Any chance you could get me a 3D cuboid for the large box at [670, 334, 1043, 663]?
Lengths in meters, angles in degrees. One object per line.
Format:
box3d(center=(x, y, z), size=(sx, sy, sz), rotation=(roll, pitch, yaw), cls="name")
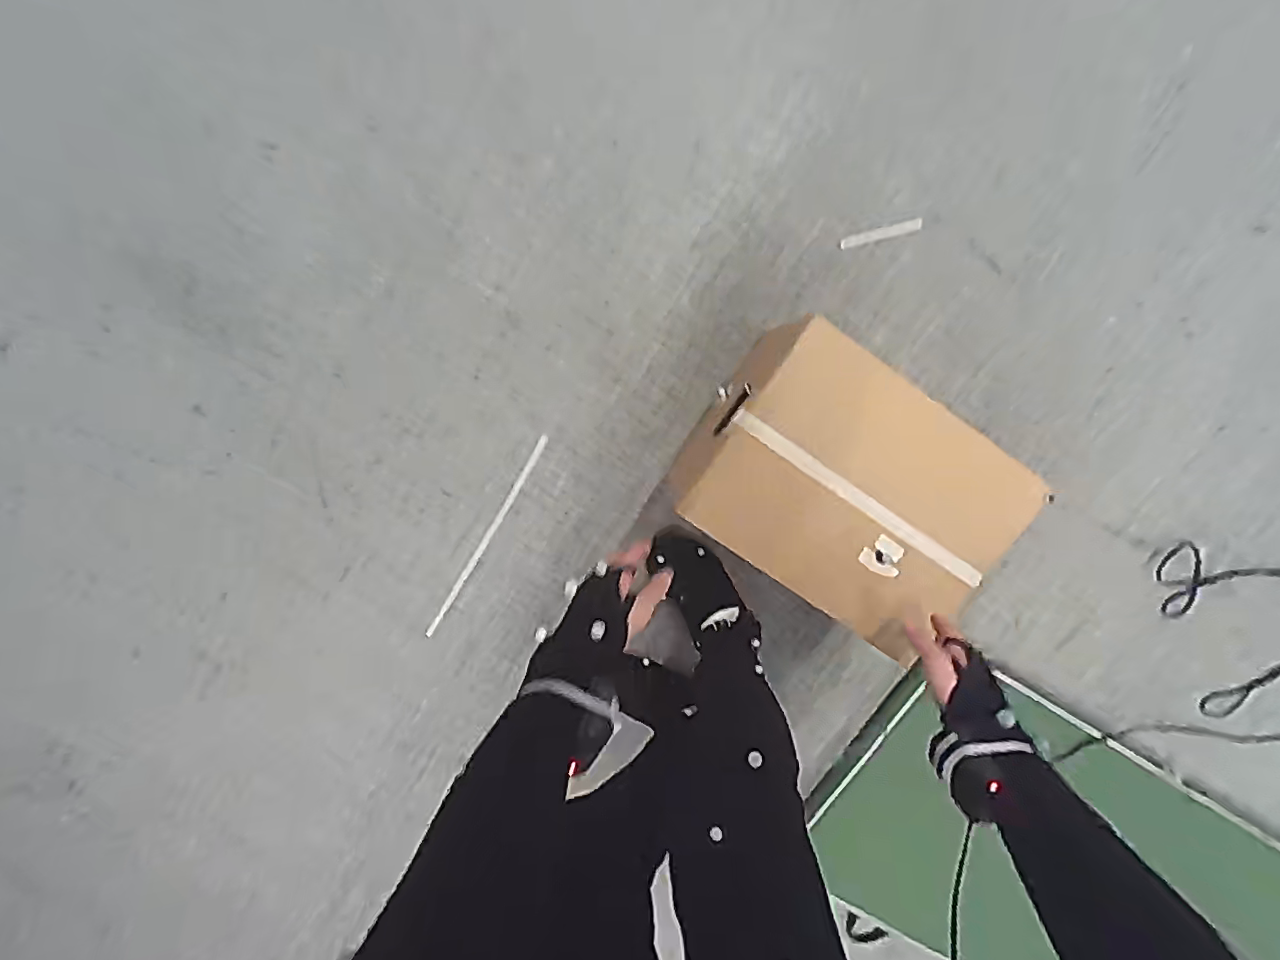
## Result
box3d(center=(0.302, 0.011, 0.886), size=(0.408, 0.320, 0.320), rotation=(34, 99, -6), cls="large box")
